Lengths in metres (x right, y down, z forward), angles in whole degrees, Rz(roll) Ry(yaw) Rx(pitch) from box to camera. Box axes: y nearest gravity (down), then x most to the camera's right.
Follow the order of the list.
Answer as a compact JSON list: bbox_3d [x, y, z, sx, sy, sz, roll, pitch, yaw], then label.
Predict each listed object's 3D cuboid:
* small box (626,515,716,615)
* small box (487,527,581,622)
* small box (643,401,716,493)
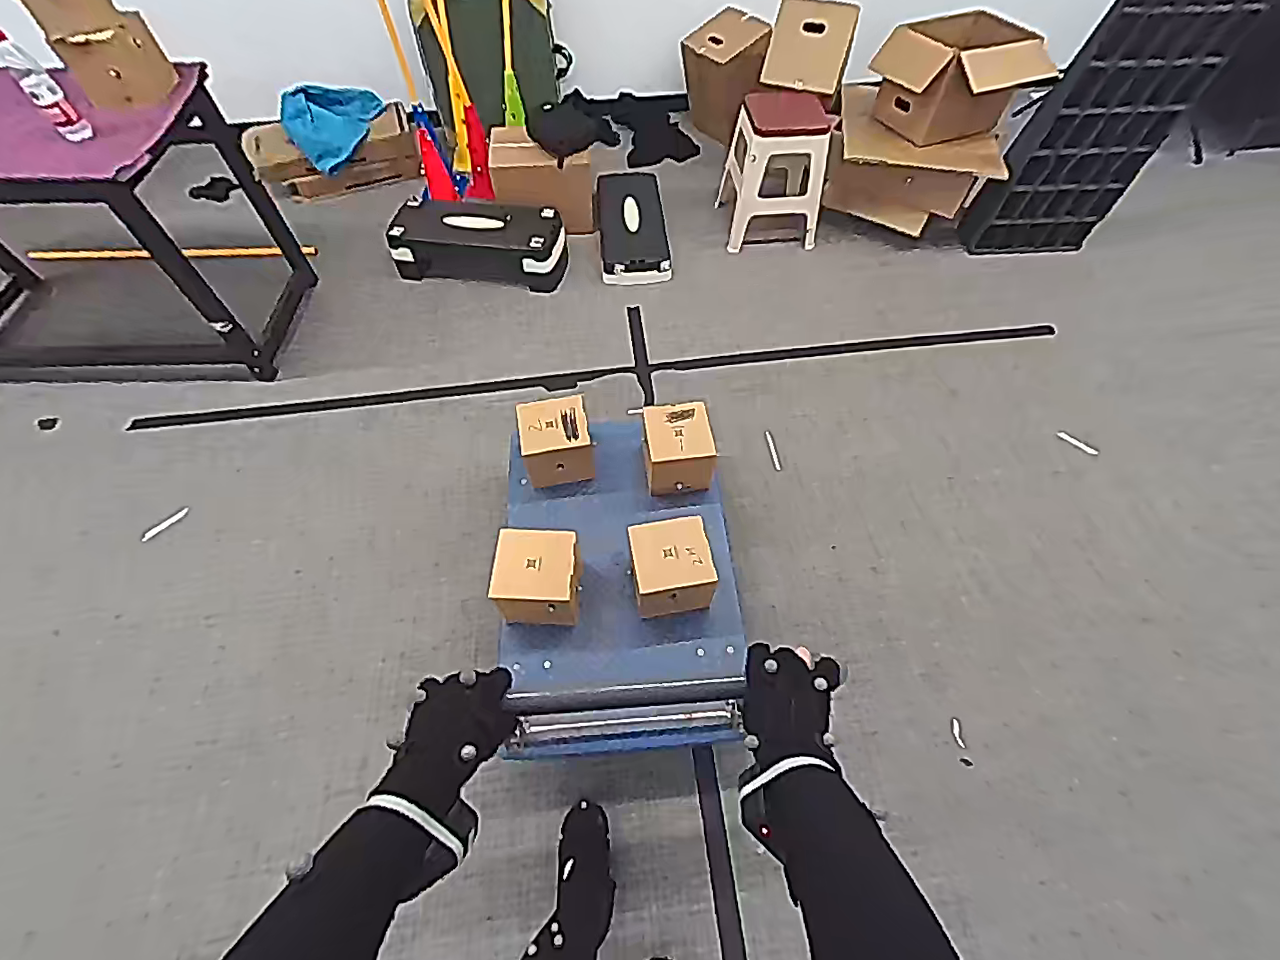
[{"bbox_3d":[0.067,0.202,1.259,0.179,0.176,0.168,-8,59,-5],"label":"small box"},{"bbox_3d":[-0.236,0.222,1.246,0.179,0.176,0.168,3,58,-1],"label":"small box"},{"bbox_3d":[0.098,-0.086,1.437,0.168,0.176,0.179,-6,59,-4],"label":"small box"}]
